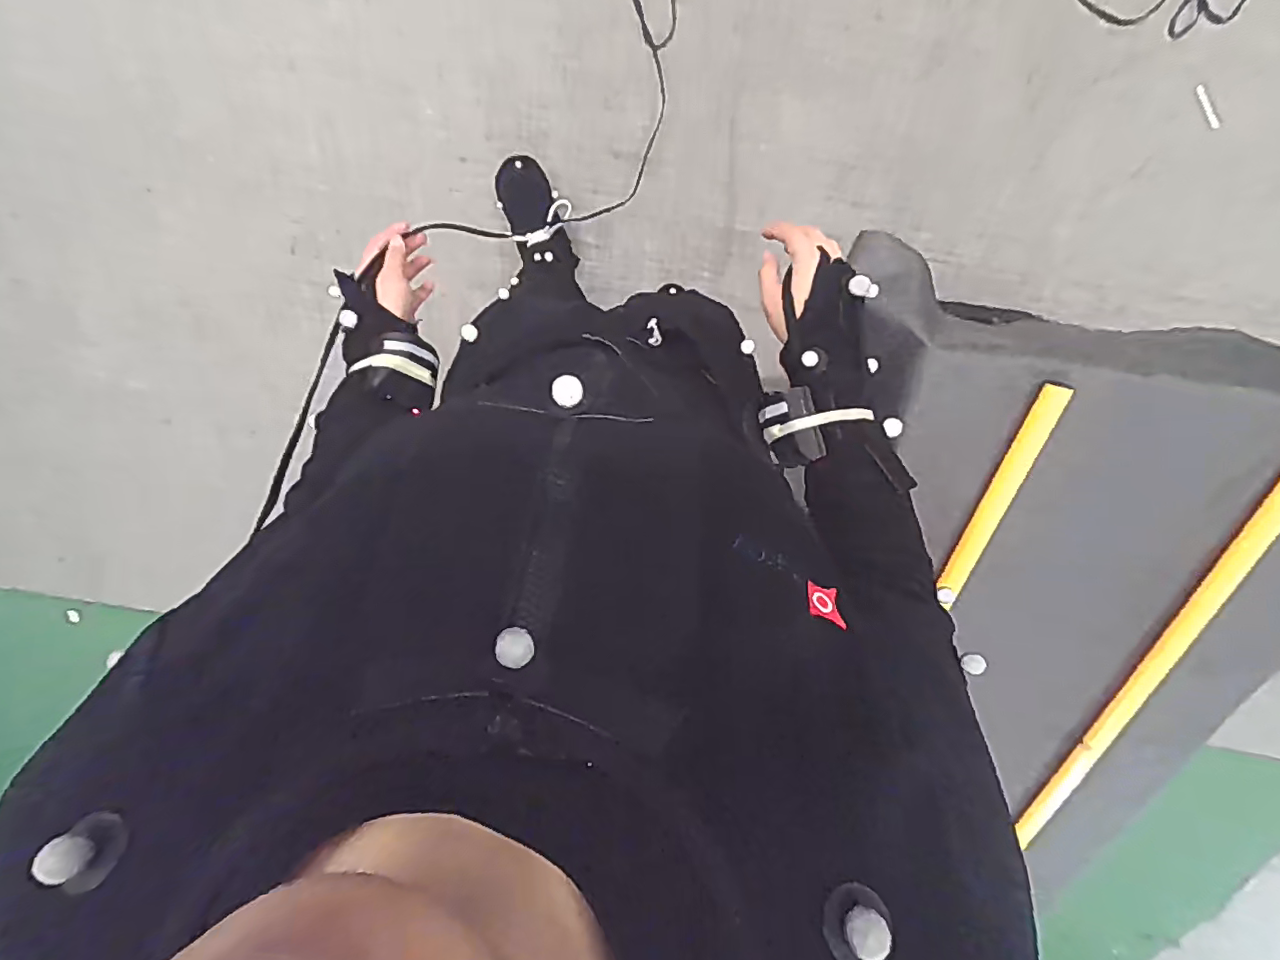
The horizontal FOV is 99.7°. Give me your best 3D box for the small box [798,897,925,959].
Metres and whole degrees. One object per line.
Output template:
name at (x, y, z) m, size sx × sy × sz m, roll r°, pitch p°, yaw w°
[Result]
small box at (0.402, 0.892, 0.974) m, size 0.179 × 0.176 × 0.168 m, roll 9°, pitch 116°, yaw -3°
